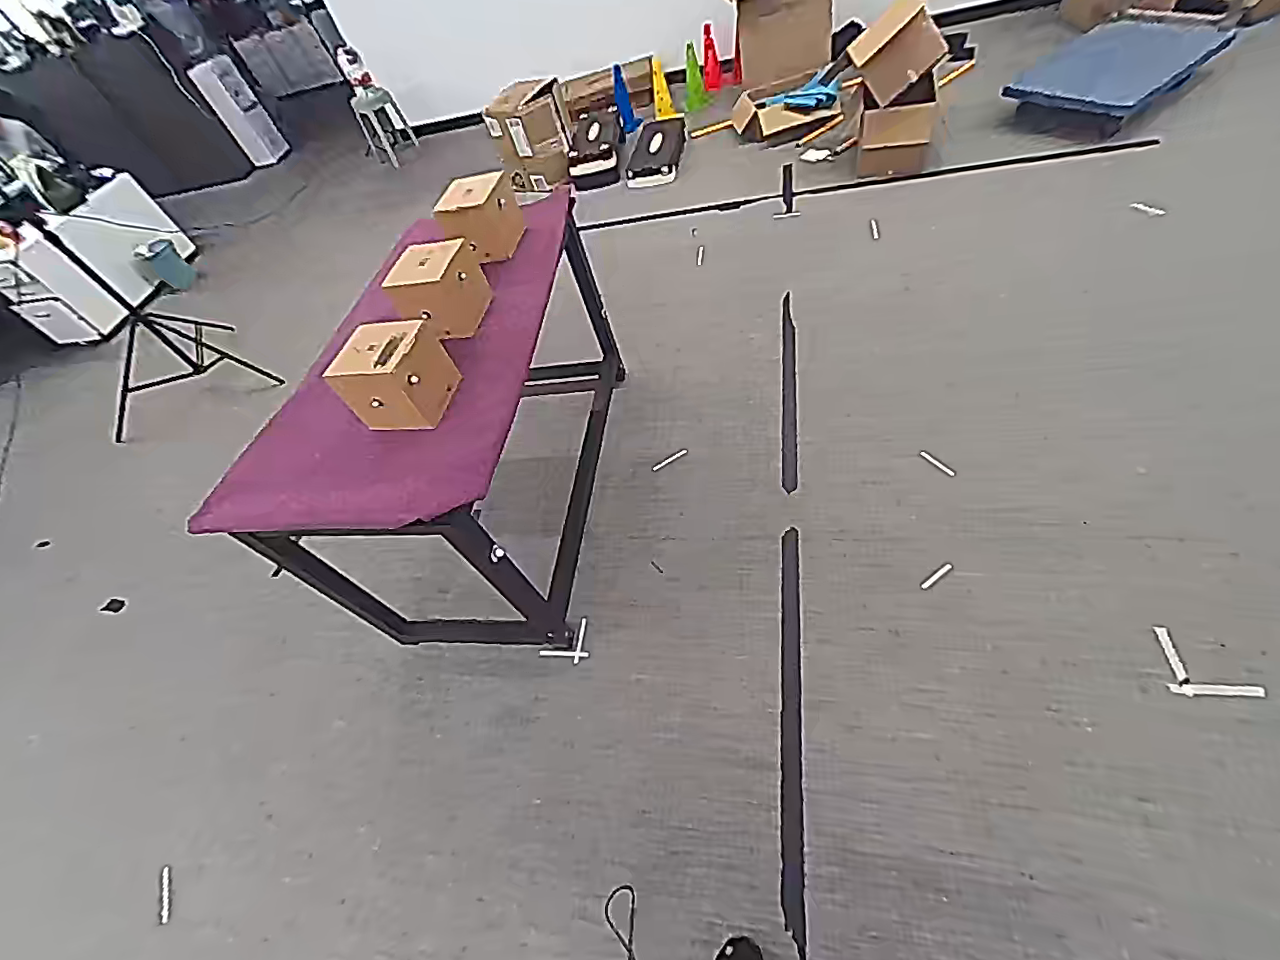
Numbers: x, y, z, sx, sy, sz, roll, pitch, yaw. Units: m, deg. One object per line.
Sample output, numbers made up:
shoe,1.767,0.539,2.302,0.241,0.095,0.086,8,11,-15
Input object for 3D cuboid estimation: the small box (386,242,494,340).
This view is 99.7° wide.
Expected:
small box,-0.495,-0.470,1.370,0.168,0.176,0.179,1,54,16

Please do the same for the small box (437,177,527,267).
small box,-0.446,-0.741,1.563,0.168,0.176,0.179,0,55,17
